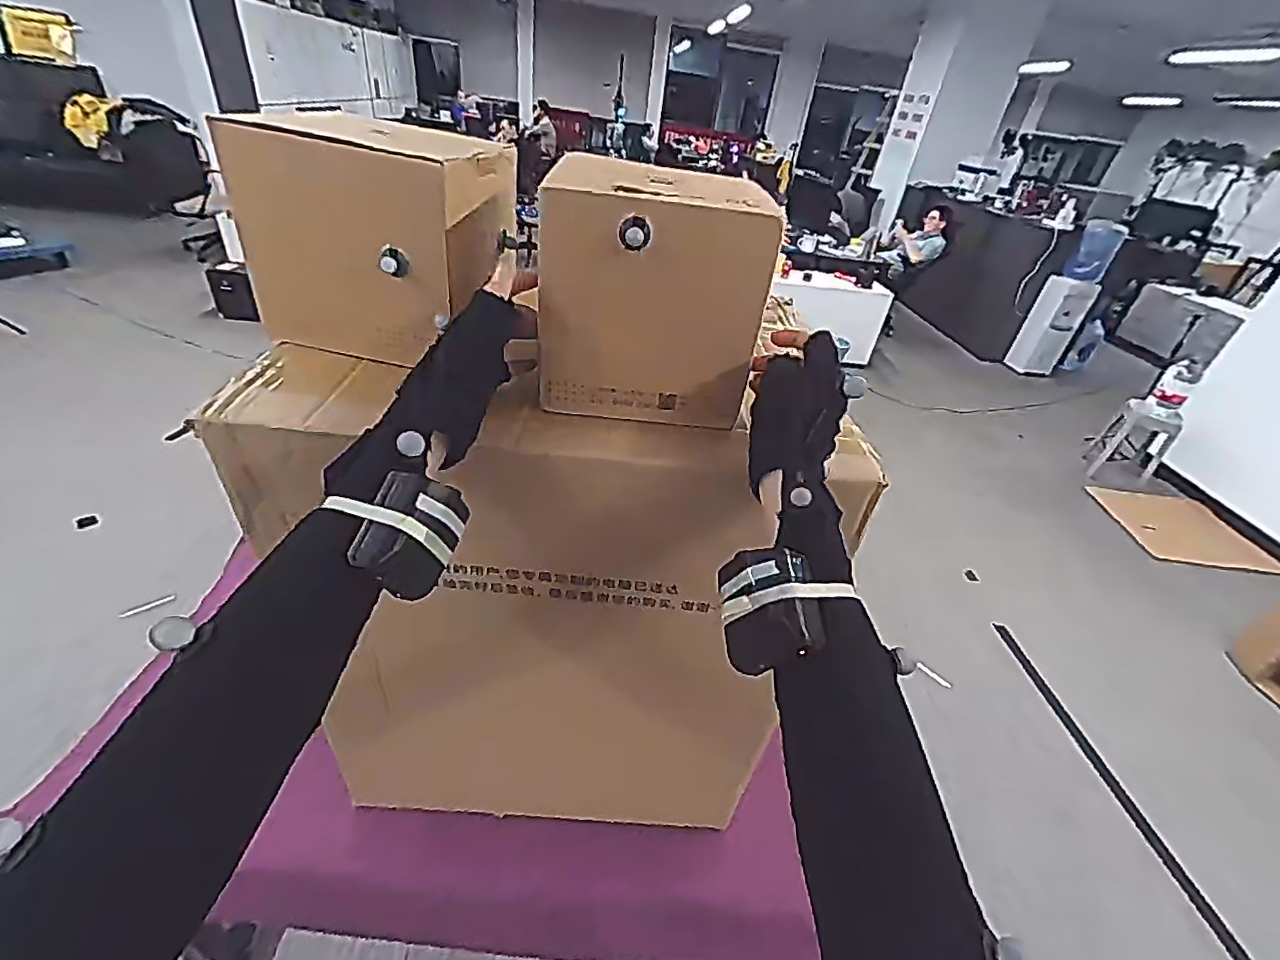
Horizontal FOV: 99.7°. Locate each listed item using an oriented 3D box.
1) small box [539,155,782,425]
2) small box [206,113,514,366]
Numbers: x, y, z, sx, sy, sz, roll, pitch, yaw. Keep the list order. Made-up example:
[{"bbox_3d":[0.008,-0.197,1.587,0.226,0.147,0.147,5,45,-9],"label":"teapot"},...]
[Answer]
[{"bbox_3d":[0.006,-0.167,0.469,0.168,0.176,0.179,5,35,-3],"label":"small box"},{"bbox_3d":[-0.223,-0.217,0.490,0.179,0.176,0.168,10,35,1],"label":"small box"}]
